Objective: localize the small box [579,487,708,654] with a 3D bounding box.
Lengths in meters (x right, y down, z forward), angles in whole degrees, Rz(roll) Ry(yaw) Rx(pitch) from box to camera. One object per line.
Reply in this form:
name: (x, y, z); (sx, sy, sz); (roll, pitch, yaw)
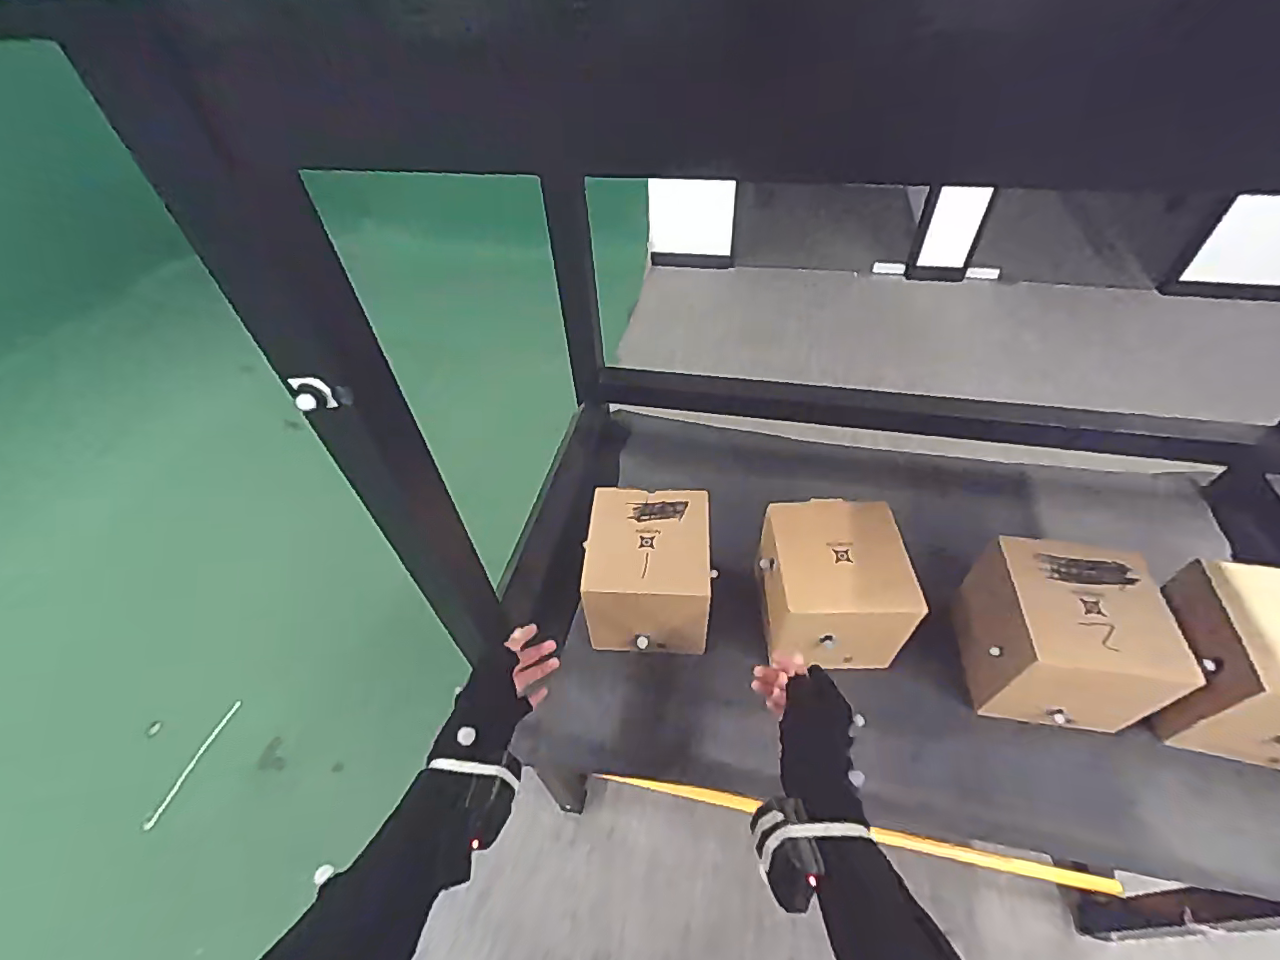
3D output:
small box: (0.013, 0.131, 0.789); (0.168, 0.176, 0.179); (1, 48, 5)
